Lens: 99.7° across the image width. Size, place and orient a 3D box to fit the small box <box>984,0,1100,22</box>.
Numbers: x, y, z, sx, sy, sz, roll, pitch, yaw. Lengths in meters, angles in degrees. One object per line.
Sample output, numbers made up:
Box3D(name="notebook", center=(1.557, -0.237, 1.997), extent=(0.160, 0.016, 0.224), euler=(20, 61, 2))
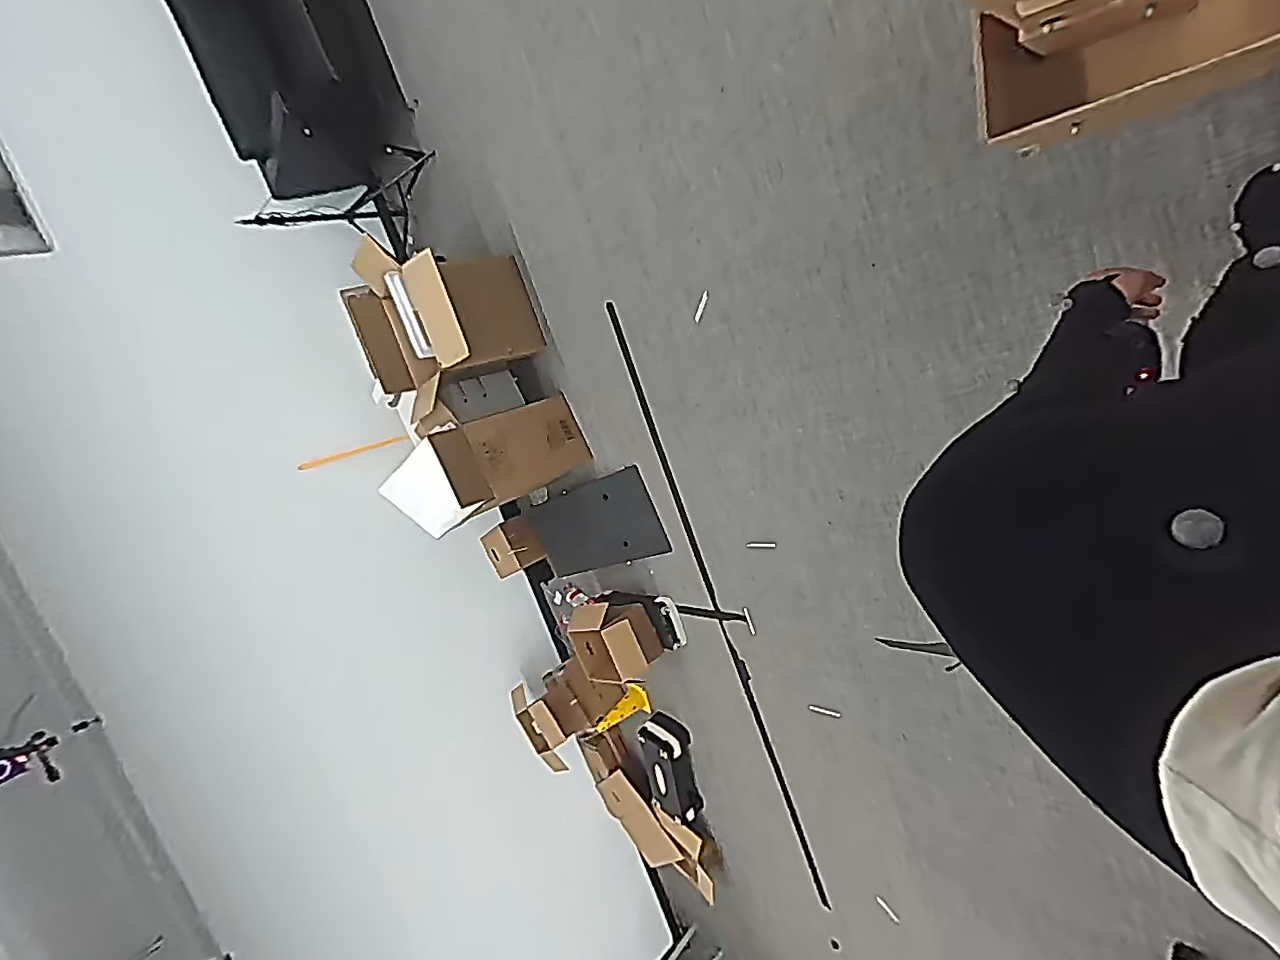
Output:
Box3D(name="small box", center=(0.528, -0.673, 0.629), extent=(0.168, 0.176, 0.179), euler=(15, 120, 46))
